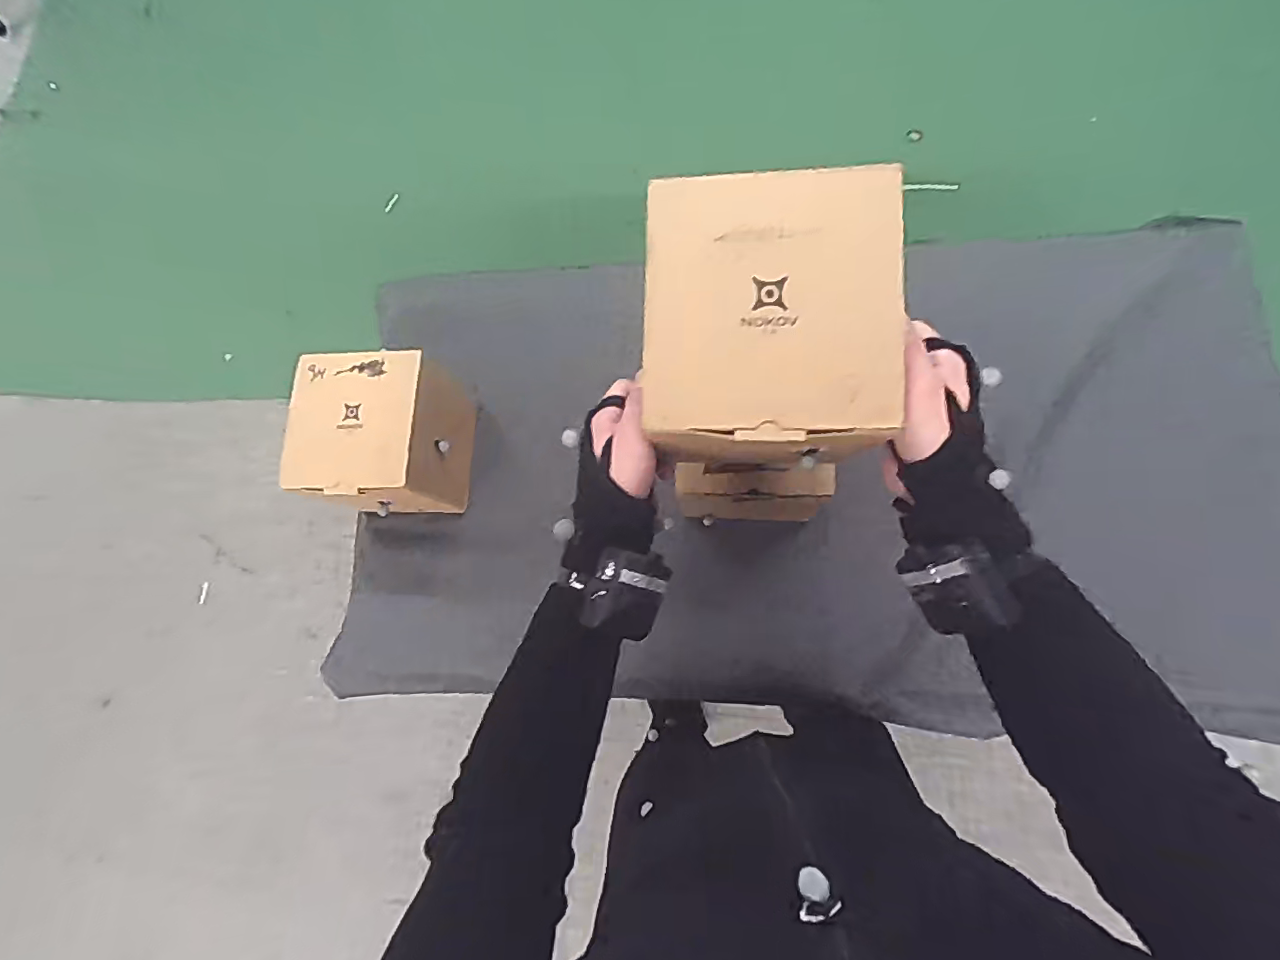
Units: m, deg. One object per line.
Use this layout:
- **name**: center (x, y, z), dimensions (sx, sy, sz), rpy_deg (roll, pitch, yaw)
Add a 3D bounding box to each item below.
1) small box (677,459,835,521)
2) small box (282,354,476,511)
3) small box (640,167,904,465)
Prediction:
- **small box**: center (0.136, -0.047, 0.657), dimensions (0.168, 0.176, 0.179), rpy_deg (1, 77, 8)
- **small box**: center (-0.333, -0.052, 0.724), dimensions (0.168, 0.176, 0.179), rpy_deg (0, 79, 7)
- **small box**: center (0.093, -0.106, 0.426), dimensions (0.168, 0.176, 0.179), rpy_deg (0, 84, 7)
